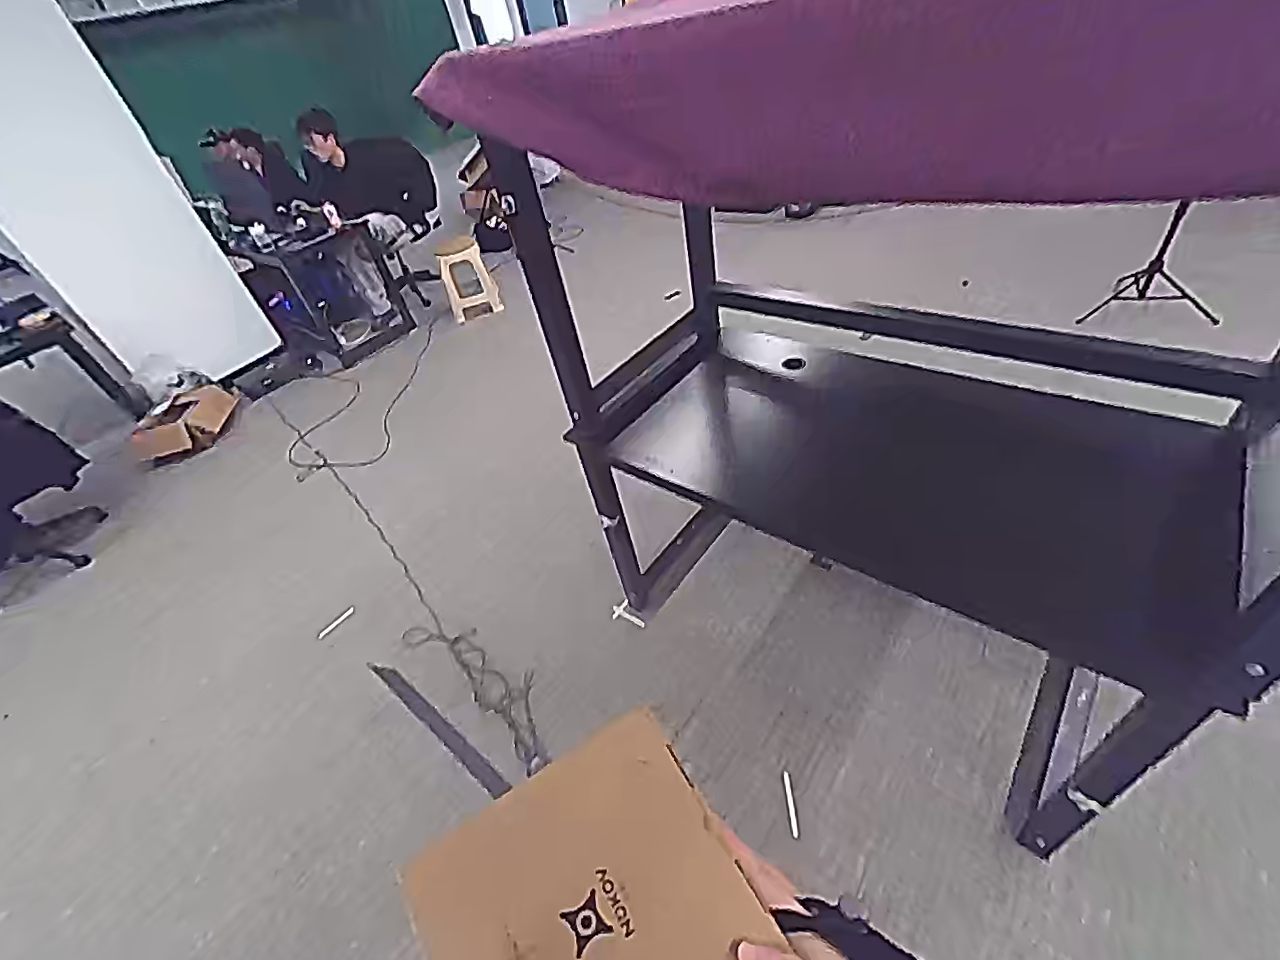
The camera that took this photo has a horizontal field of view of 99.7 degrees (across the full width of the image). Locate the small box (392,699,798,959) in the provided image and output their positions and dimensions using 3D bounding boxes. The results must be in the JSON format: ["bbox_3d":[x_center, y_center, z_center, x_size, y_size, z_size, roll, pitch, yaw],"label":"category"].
[{"bbox_3d":[-0.030,0.281,0.365,0.179,0.176,0.168,-27,61,-17],"label":"small box"}]
